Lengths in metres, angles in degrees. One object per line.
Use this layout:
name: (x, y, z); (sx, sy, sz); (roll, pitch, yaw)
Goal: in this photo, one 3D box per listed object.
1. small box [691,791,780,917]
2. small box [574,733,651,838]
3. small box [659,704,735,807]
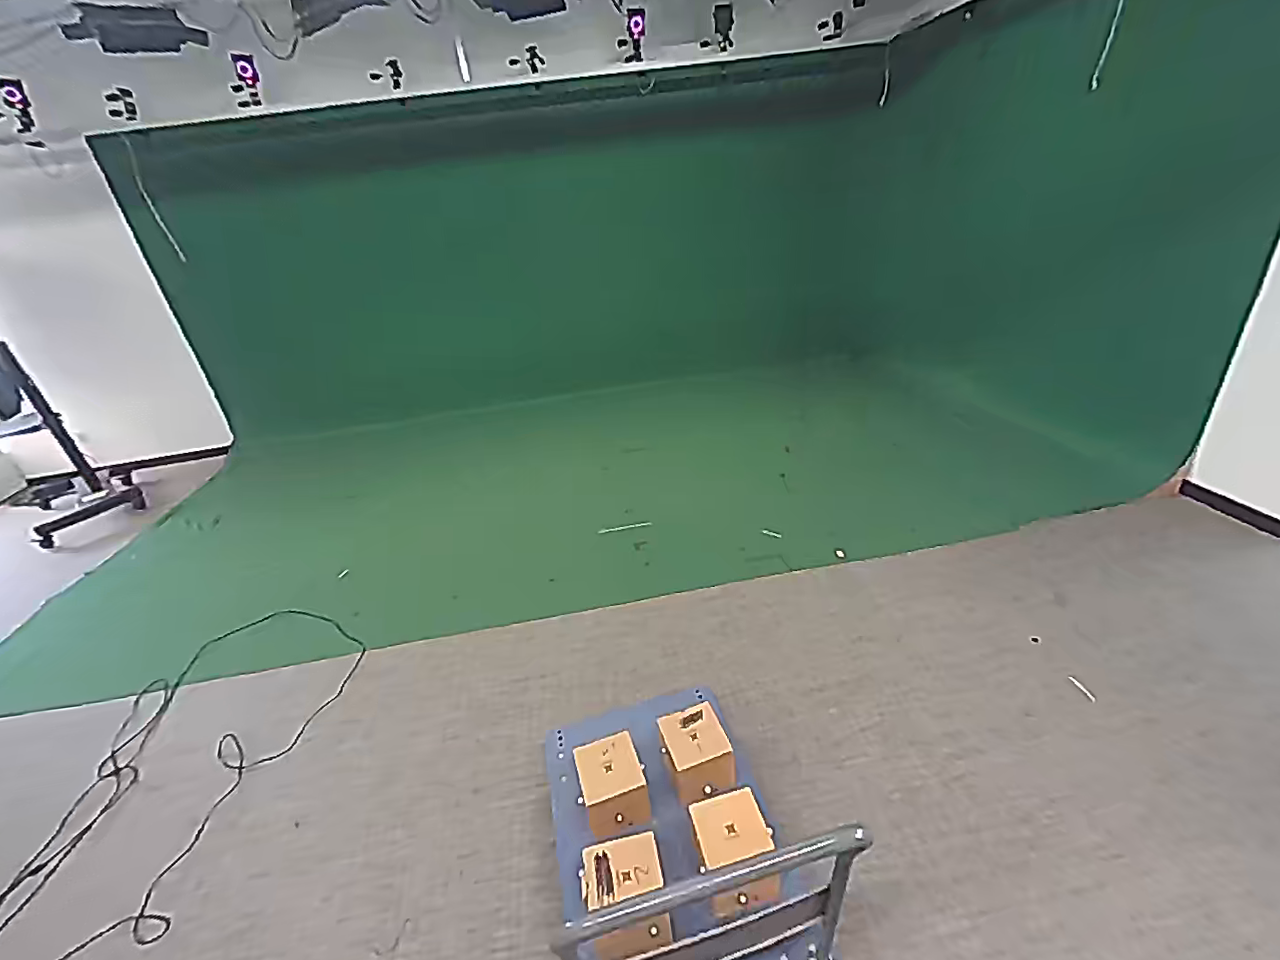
small box: (0.228, 0.909, 1.319); (0.168, 0.176, 0.179); (-11, 29, -9)
small box: (-0.075, 0.850, 1.496); (0.168, 0.176, 0.179); (-13, 29, -13)
small box: (0.163, 0.789, 1.552); (0.168, 0.176, 0.179); (-15, 30, -12)
